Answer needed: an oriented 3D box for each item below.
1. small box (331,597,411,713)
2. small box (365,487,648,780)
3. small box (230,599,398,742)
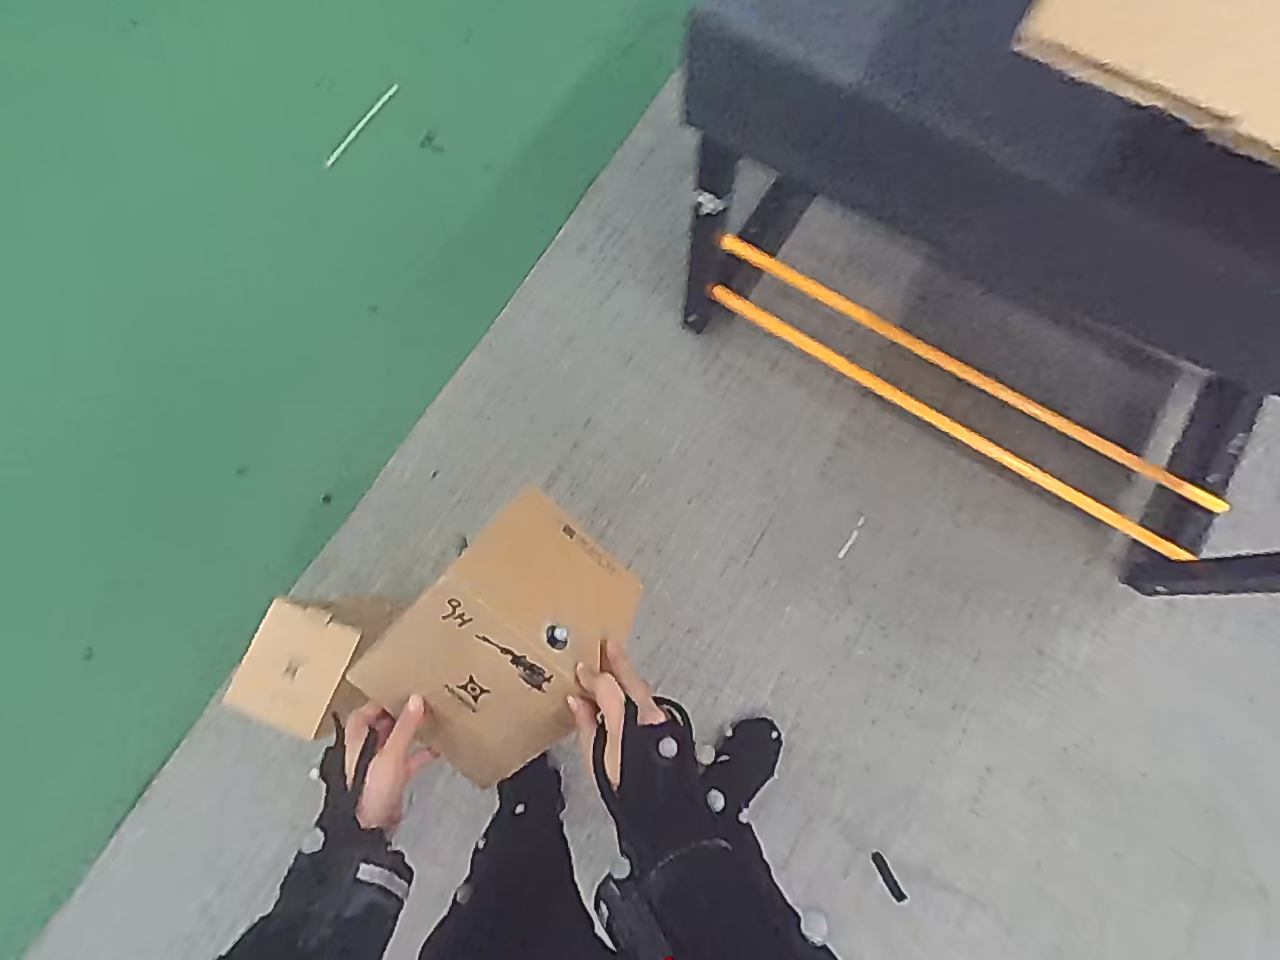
[{"bbox_3d":[-0.540,0.346,1.096,0.179,0.176,0.168,21,78,7],"label":"small box"},{"bbox_3d":[-0.114,0.140,0.525,0.168,0.176,0.179,44,116,-8],"label":"small box"},{"bbox_3d":[-0.540,0.318,0.936,0.168,0.176,0.179,18,79,8],"label":"small box"}]
